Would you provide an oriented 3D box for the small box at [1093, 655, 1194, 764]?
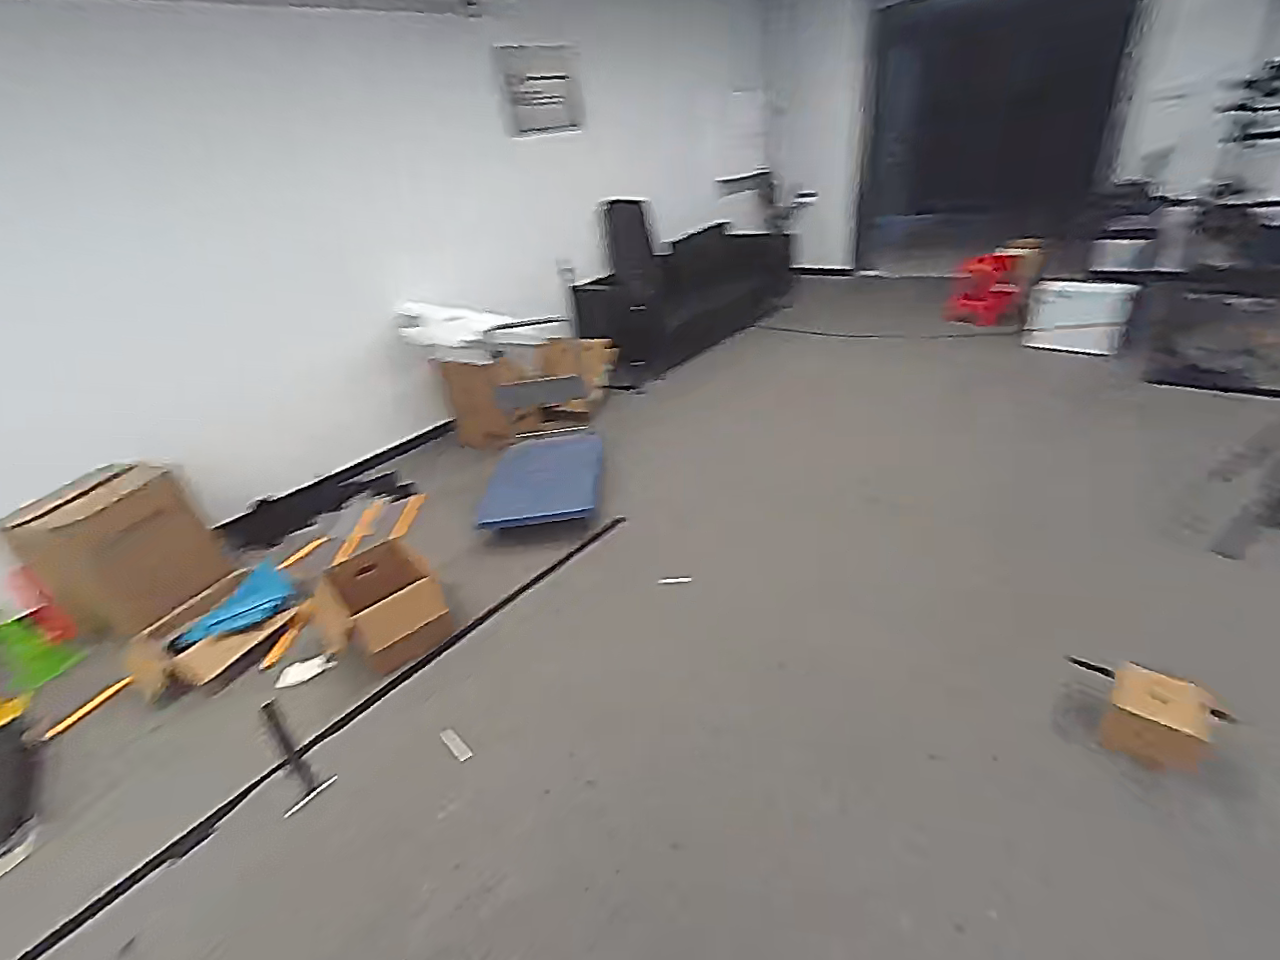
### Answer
[{"bbox_3d":[1.349,0.617,1.454,0.168,0.176,0.179,17,39,37],"label":"small box"}]
